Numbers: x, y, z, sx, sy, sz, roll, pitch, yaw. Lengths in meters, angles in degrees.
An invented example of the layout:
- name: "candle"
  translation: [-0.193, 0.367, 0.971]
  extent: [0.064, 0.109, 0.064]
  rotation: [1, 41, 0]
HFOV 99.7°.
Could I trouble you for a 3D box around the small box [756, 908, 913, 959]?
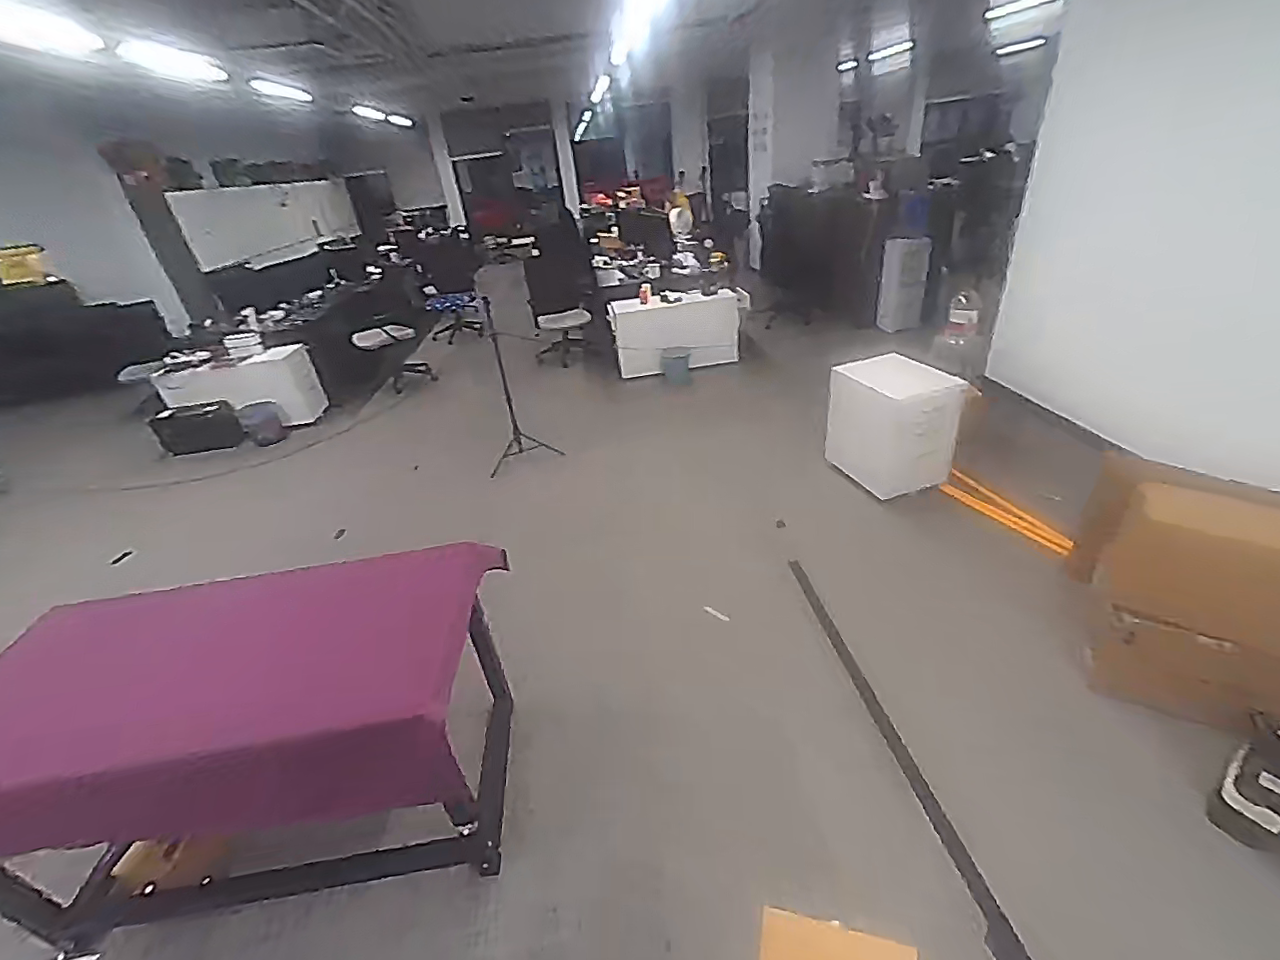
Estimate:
- name: "small box"
  translation: [0.217, 0.621, 0.619]
  extent: [0.168, 0.176, 0.179]
  rotation: [1, 53, 20]
